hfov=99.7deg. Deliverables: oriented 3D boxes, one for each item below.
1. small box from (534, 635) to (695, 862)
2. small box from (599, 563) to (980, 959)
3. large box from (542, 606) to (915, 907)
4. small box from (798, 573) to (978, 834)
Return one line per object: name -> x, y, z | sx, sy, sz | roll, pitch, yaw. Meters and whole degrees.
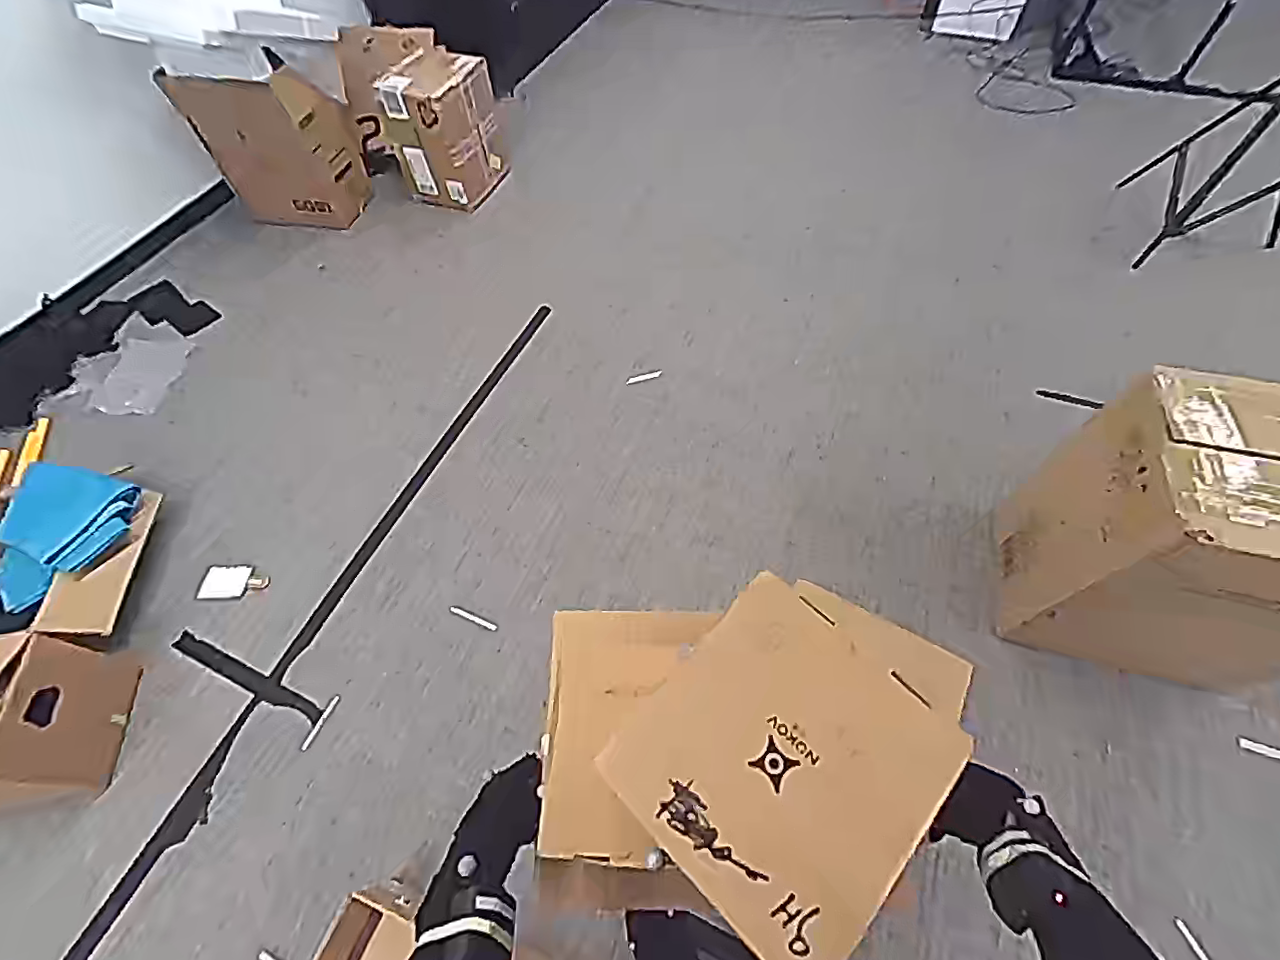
small box -> -0.002, 0.265, 0.543 | 0.168, 0.176, 0.179 | 3, 61, 0
small box -> 0.089, 0.197, 0.393 | 0.168, 0.176, 0.179 | 40, 69, 20
large box -> 0.087, 0.369, 0.763 | 0.408, 0.320, 0.320 | 0, 64, -1
small box -> 0.198, 0.229, 0.558 | 0.179, 0.176, 0.168 | 27, 66, 14
